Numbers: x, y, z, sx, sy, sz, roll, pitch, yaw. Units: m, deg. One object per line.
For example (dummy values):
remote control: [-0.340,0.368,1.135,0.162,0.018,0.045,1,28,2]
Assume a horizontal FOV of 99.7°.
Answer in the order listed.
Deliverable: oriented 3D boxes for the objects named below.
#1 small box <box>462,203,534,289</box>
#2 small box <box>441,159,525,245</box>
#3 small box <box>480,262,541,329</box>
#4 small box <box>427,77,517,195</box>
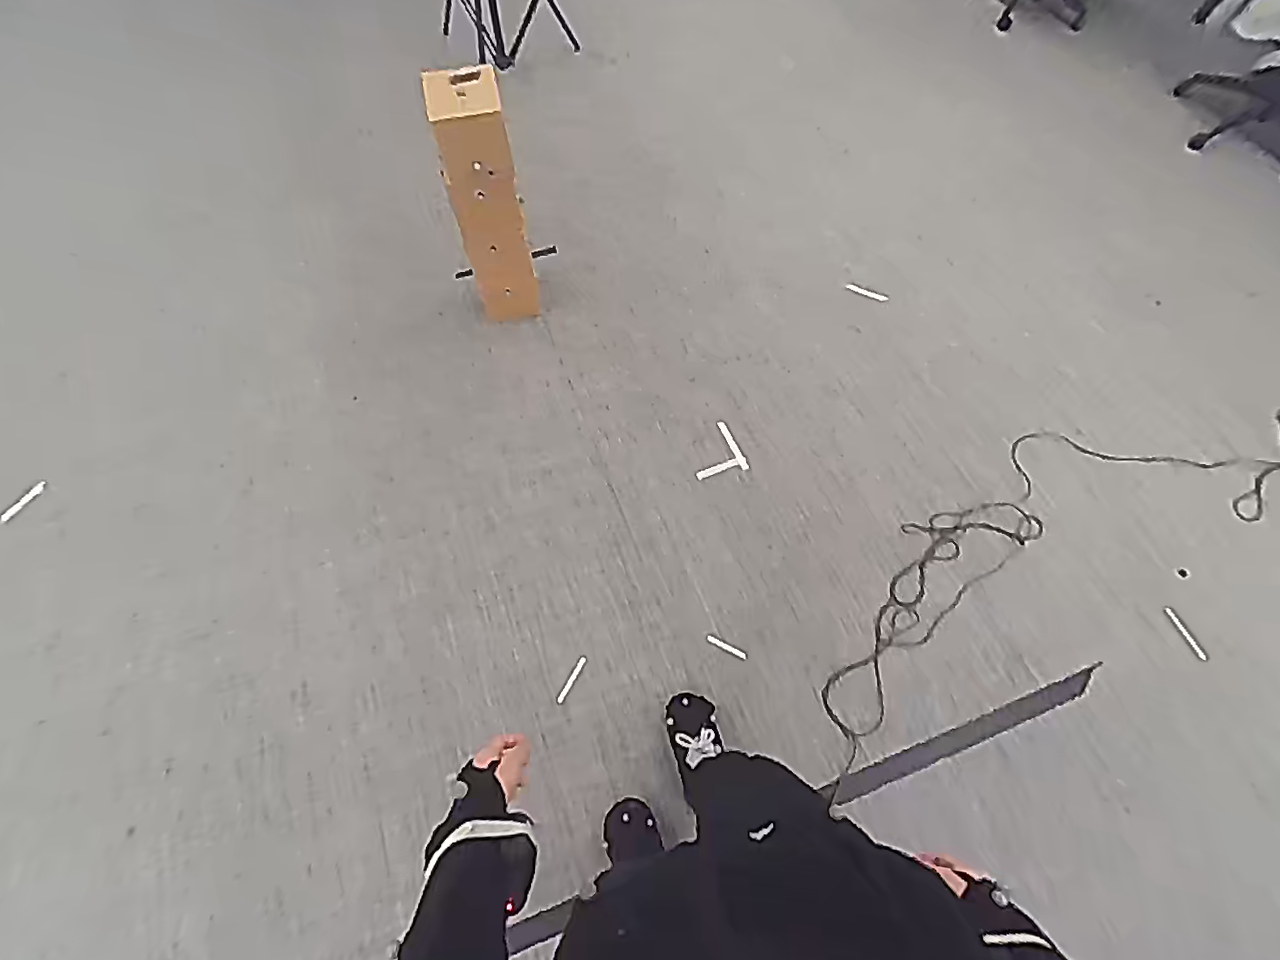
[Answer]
small box: [-0.423,-0.694,1.613,0.179,0.176,0.168,-9,67,-5]
small box: [-0.423,-0.767,1.469,0.179,0.176,0.168,-12,68,-7]
small box: [-0.423,-0.619,1.760,0.179,0.176,0.168,-12,67,-7]
small box: [-0.406,-0.834,1.319,0.168,0.176,0.179,-12,68,-6]
